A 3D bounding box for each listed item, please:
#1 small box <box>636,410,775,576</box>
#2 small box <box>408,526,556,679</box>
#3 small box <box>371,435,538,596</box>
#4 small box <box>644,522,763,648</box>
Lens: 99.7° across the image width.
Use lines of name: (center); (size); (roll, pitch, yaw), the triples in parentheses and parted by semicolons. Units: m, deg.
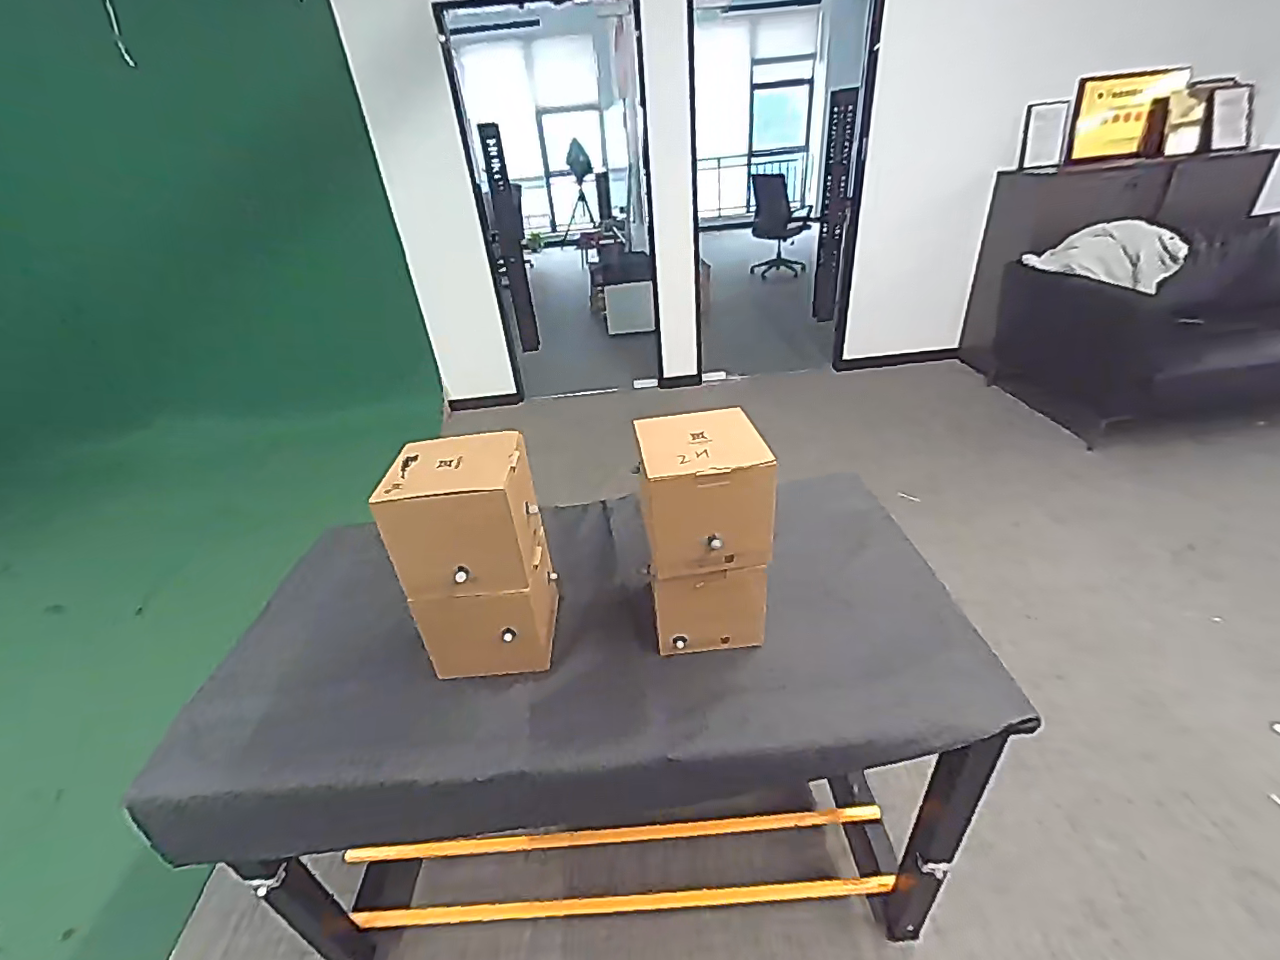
small box: (0.087, 0.015, 0.790); (0.168, 0.176, 0.179); (-8, 31, -3)
small box: (-0.236, 0.194, 0.865); (0.179, 0.176, 0.168); (-6, 30, 0)
small box: (-0.251, 0.050, 0.787); (0.179, 0.176, 0.168); (-5, 30, -1)
small box: (0.099, 0.154, 0.878); (0.168, 0.176, 0.179); (-5, 30, -1)
